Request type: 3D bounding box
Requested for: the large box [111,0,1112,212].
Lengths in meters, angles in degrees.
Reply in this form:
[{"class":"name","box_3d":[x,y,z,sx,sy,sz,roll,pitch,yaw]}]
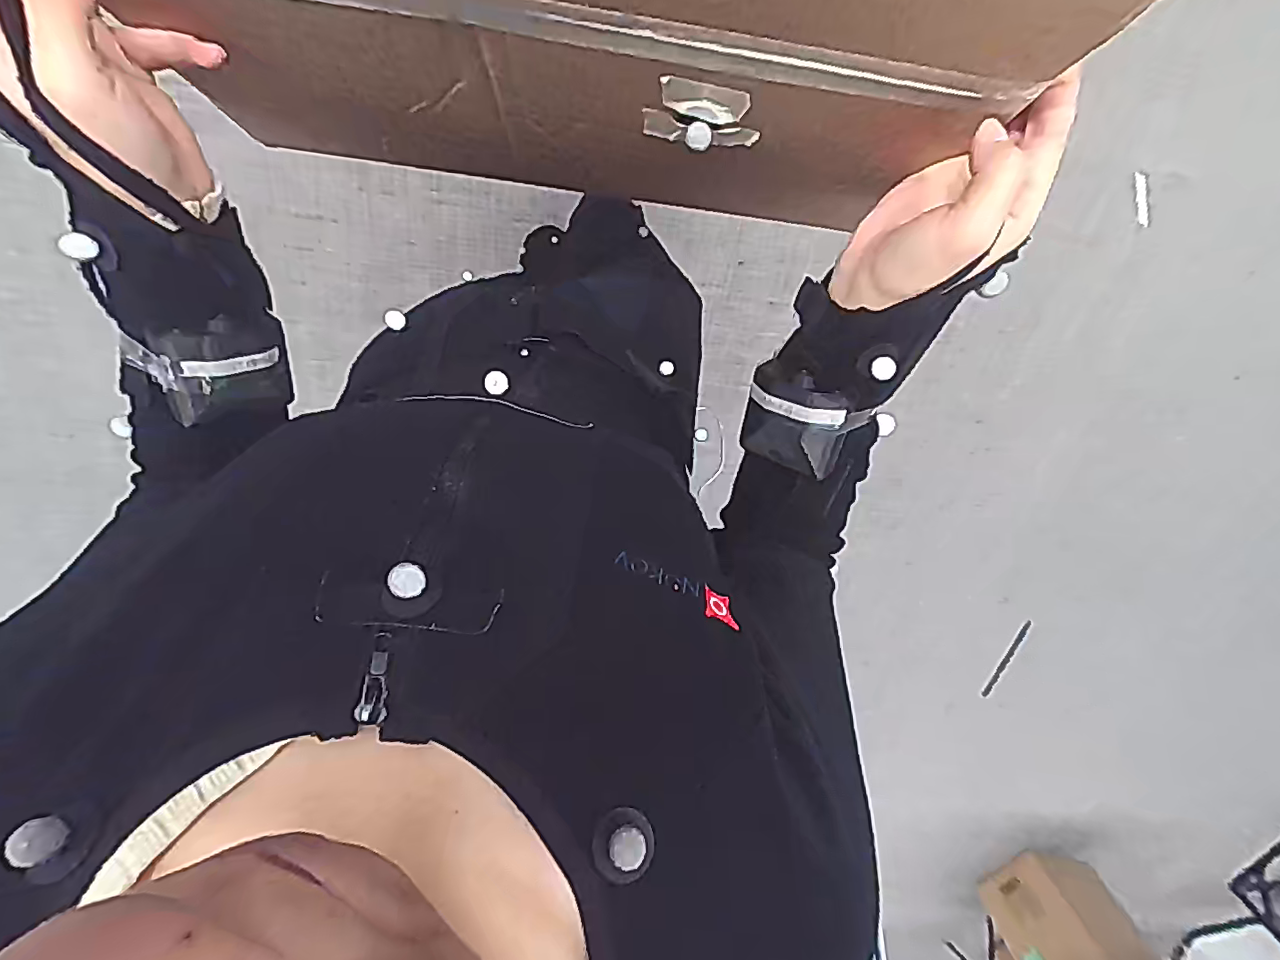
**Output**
[{"class":"large box","box_3d":[-0.020,-0.343,0.206,0.408,0.320,0.320,5,95,-4]}]
